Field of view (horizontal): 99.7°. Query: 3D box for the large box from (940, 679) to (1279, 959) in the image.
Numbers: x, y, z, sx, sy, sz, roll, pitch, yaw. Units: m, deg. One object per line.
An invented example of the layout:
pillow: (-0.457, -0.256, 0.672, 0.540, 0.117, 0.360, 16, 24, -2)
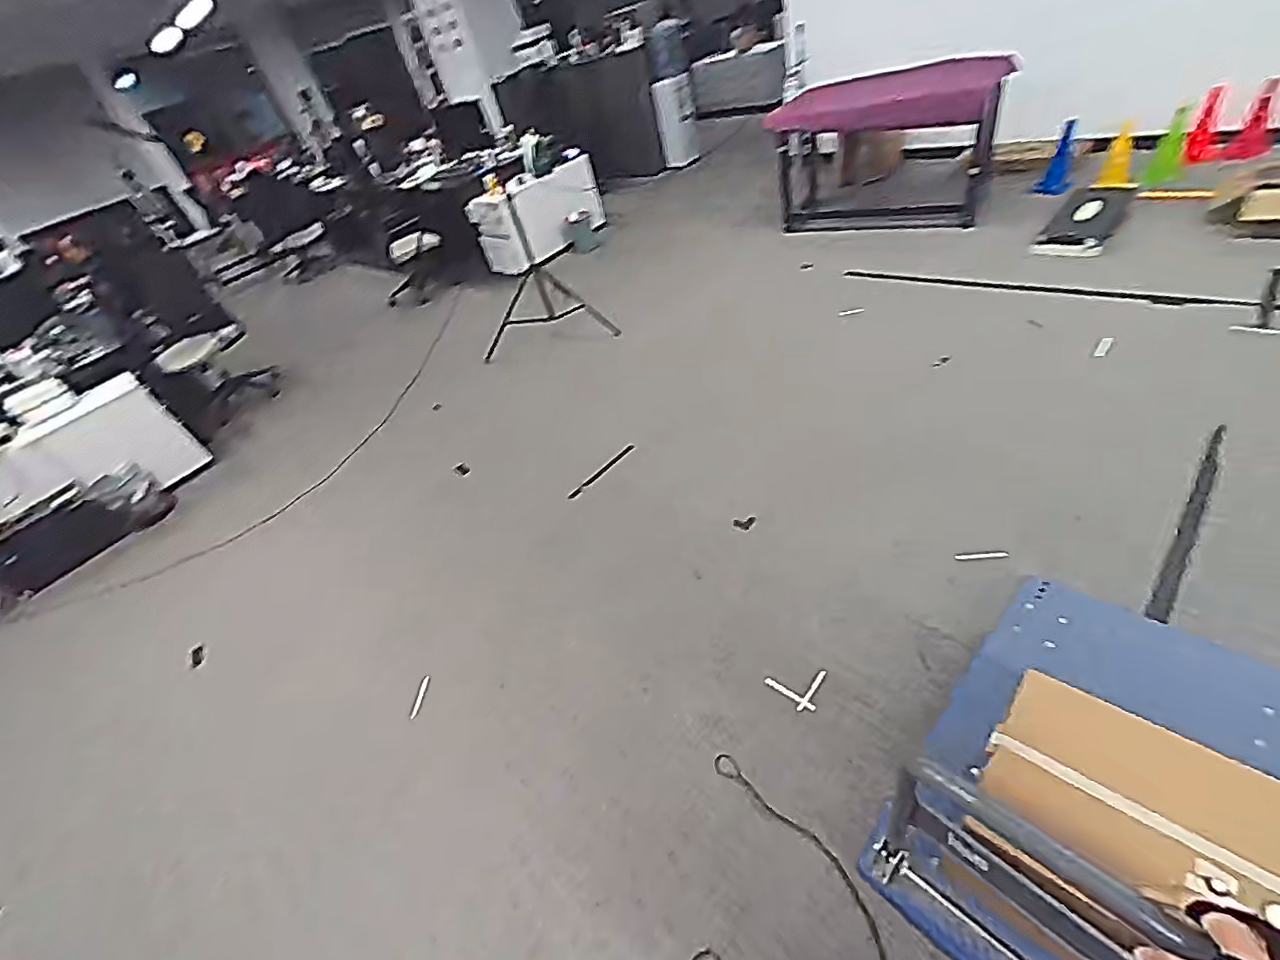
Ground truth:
large box: (0.774, 0.617, 0.886, 0.408, 0.320, 0.320, 23, 56, 37)
